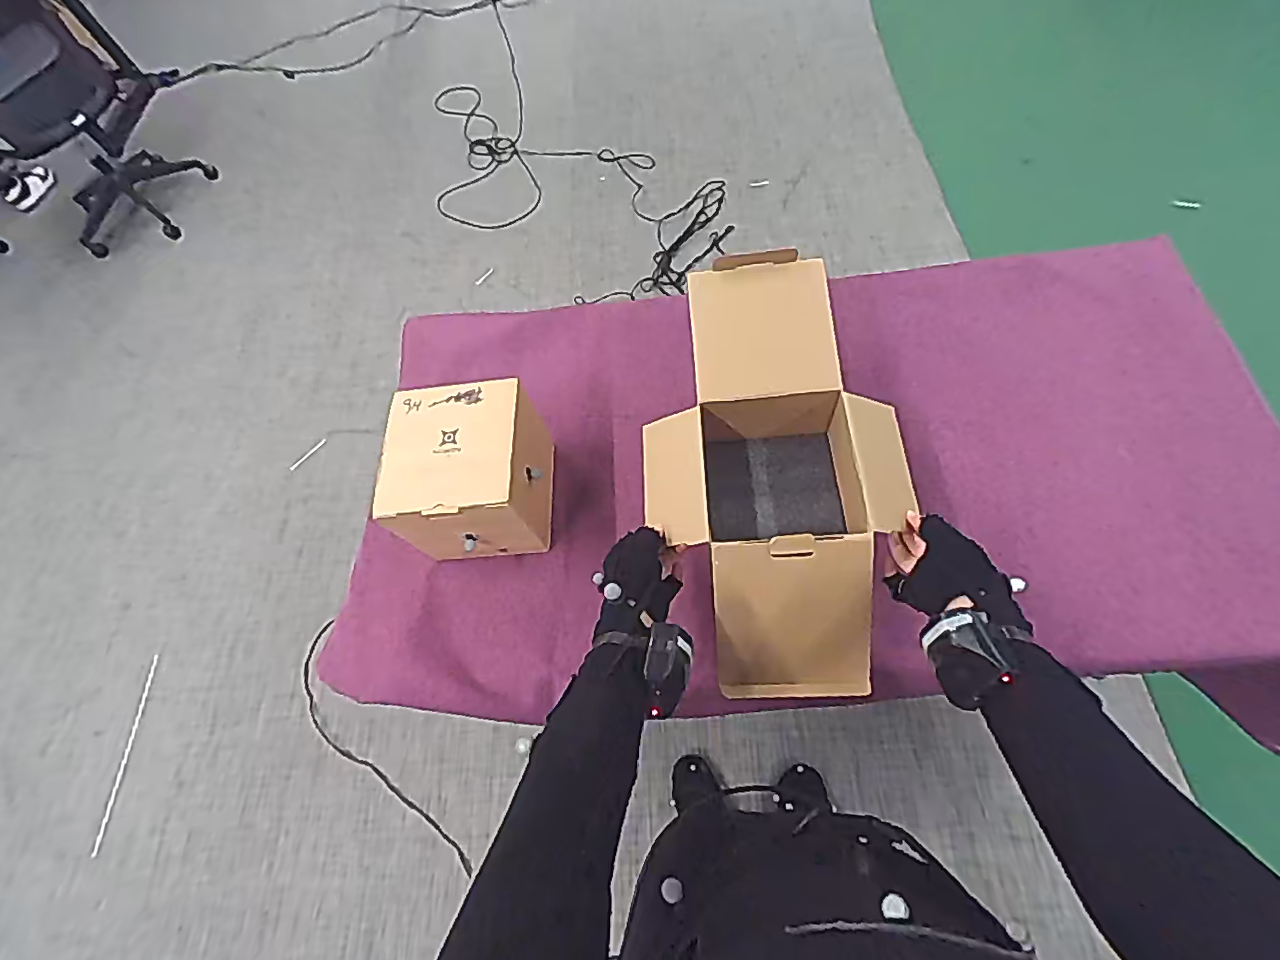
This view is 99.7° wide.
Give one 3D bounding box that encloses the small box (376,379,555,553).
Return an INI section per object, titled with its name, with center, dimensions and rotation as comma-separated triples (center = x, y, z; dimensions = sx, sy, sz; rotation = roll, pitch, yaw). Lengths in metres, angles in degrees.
[small box]
center = -0.215, -0.007, 0.717
dimensions = 0.168, 0.176, 0.179
rotation = -5, 64, 6
